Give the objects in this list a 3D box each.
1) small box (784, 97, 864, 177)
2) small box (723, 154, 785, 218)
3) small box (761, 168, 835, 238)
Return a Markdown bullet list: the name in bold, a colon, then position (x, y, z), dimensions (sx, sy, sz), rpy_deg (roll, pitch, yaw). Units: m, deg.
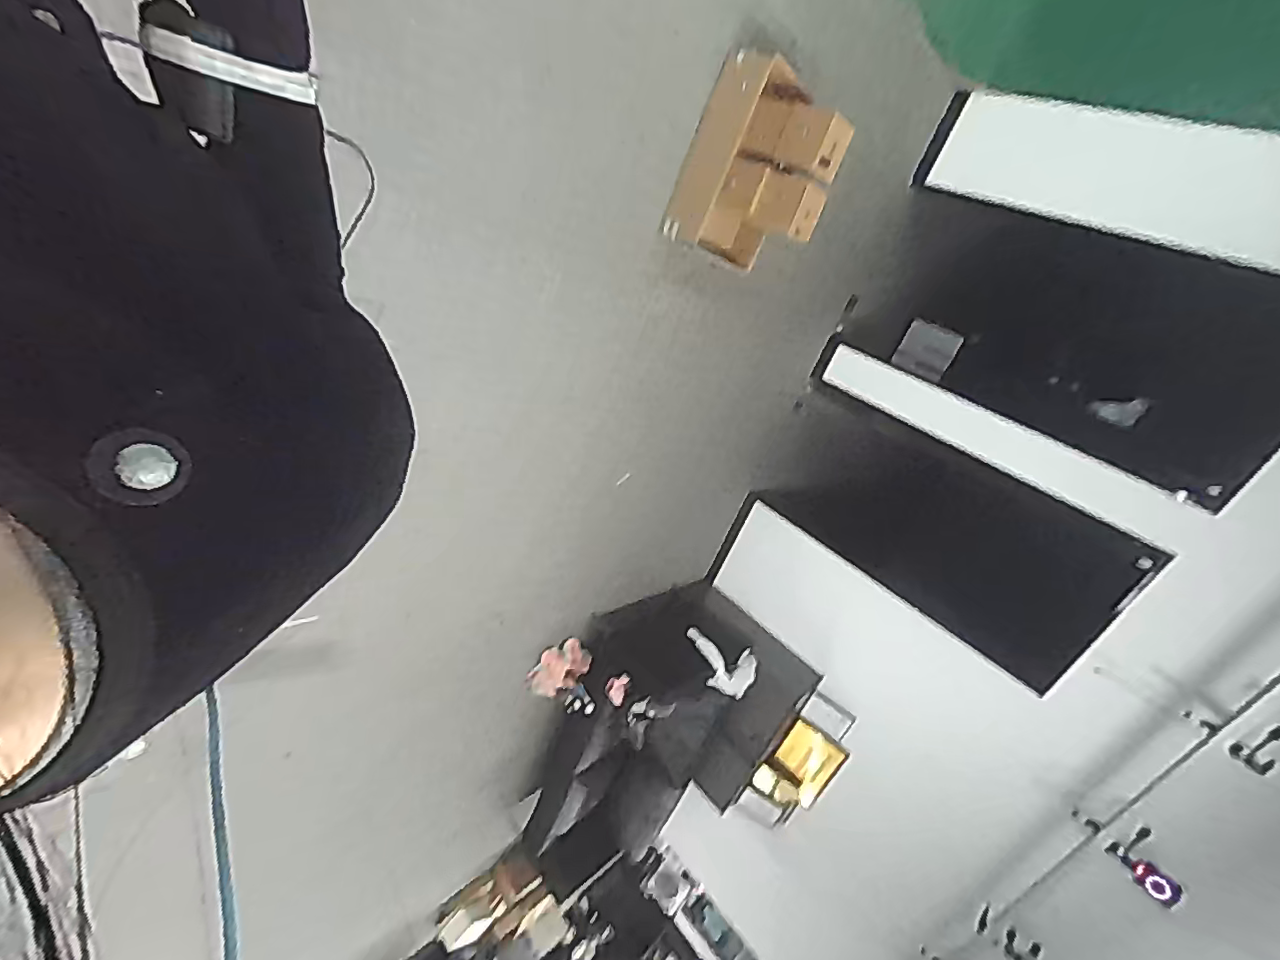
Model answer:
- **small box**: position (0.619, -1.169, 1.844), dimensions (0.168, 0.176, 0.179), rpy_deg (-8, 128, -46)
- **small box**: position (0.446, -1.090, 2.018), dimensions (0.179, 0.176, 0.168), rpy_deg (-4, 123, -49)
- **small box**: position (0.563, -0.999, 1.946), dimensions (0.168, 0.176, 0.179), rpy_deg (-9, 127, -47)
